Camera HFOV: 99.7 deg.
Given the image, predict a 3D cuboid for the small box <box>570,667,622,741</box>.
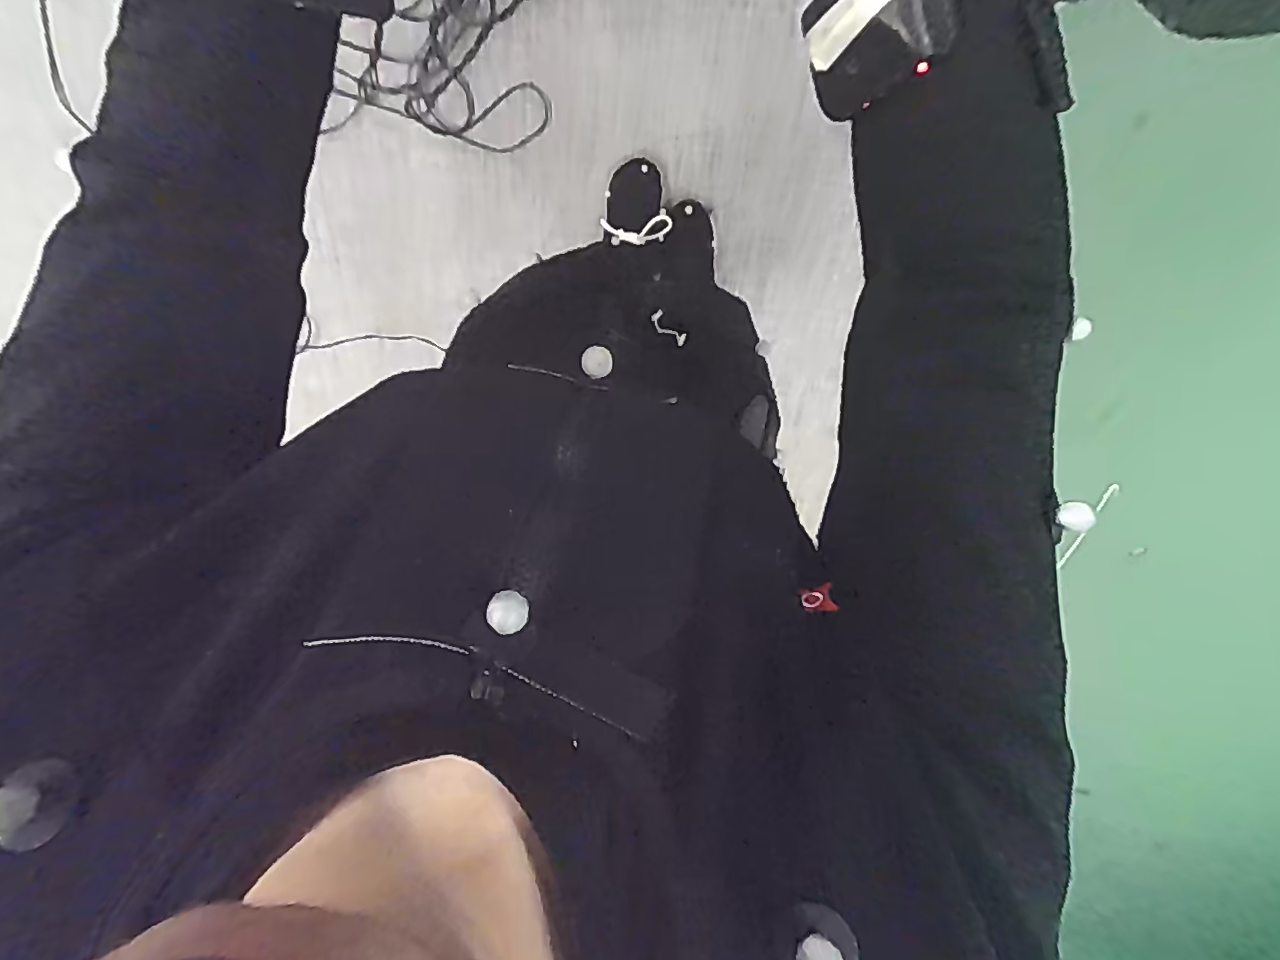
[{"bbox_3d":[-0.154,0.796,1.922,0.168,0.176,0.179,4,122,1],"label":"small box"}]
